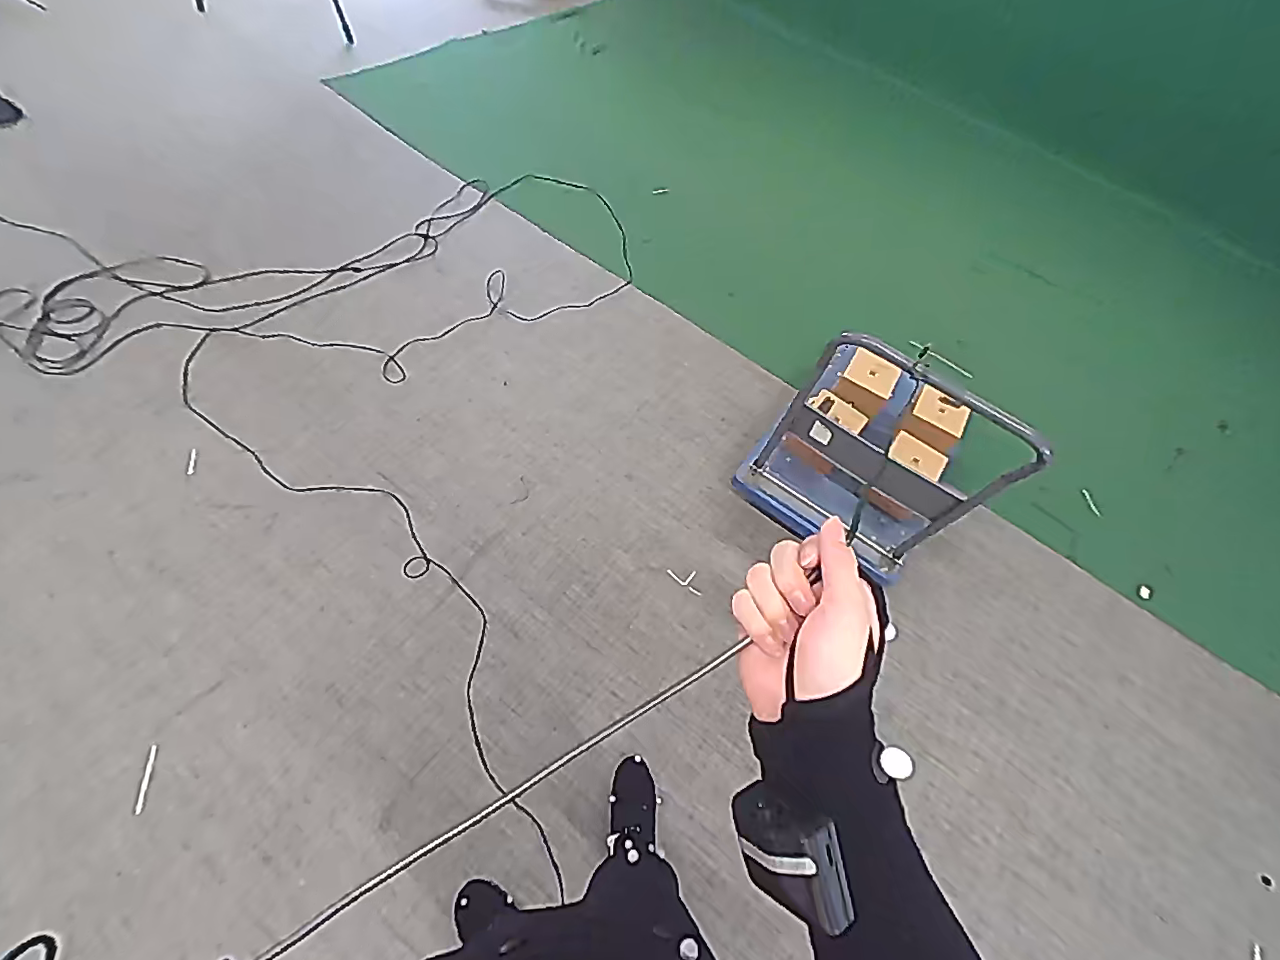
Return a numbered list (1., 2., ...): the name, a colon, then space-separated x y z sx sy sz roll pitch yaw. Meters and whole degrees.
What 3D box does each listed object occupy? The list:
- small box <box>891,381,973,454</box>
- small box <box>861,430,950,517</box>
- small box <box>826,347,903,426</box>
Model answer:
1. small box: 0.985 -0.194 1.834 0.168 0.176 0.179 31 60 11
2. small box: 0.829 -0.017 1.703 0.168 0.176 0.179 35 61 13
3. small box: 0.773 -0.321 1.879 0.168 0.176 0.179 32 59 10
